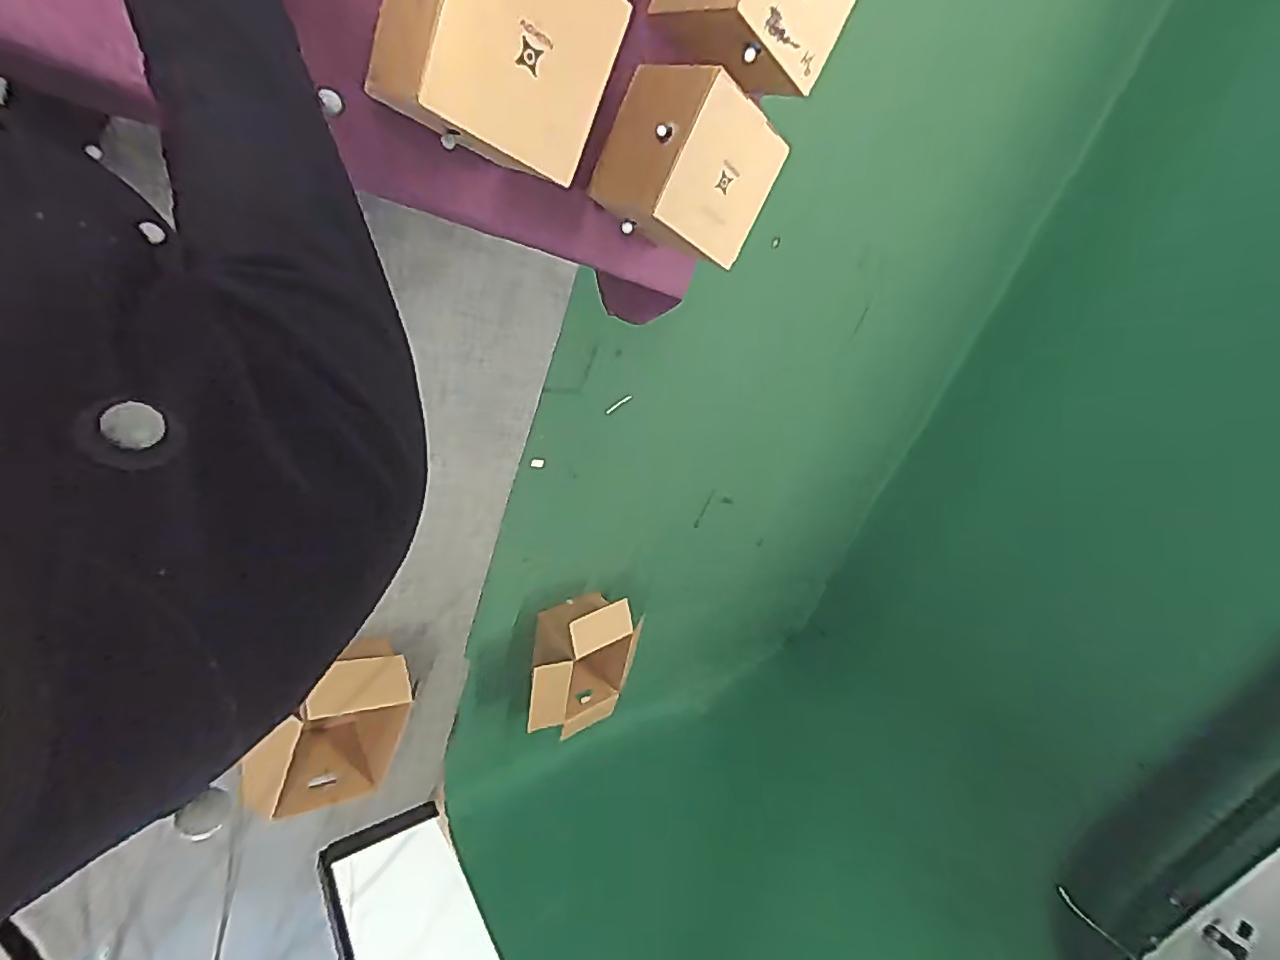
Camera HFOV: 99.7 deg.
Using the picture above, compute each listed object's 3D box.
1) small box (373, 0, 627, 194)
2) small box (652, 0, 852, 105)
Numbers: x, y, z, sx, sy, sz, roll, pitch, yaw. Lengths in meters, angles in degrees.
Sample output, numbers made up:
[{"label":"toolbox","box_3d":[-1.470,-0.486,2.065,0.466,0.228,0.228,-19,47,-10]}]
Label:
[{"label":"small box","box_3d":[-0.150,-0.426,0.545,0.168,0.176,0.179,6,117,-46]},{"label":"small box","box_3d":[0.143,-0.612,0.674,0.168,0.176,0.179,9,114,-47]}]
